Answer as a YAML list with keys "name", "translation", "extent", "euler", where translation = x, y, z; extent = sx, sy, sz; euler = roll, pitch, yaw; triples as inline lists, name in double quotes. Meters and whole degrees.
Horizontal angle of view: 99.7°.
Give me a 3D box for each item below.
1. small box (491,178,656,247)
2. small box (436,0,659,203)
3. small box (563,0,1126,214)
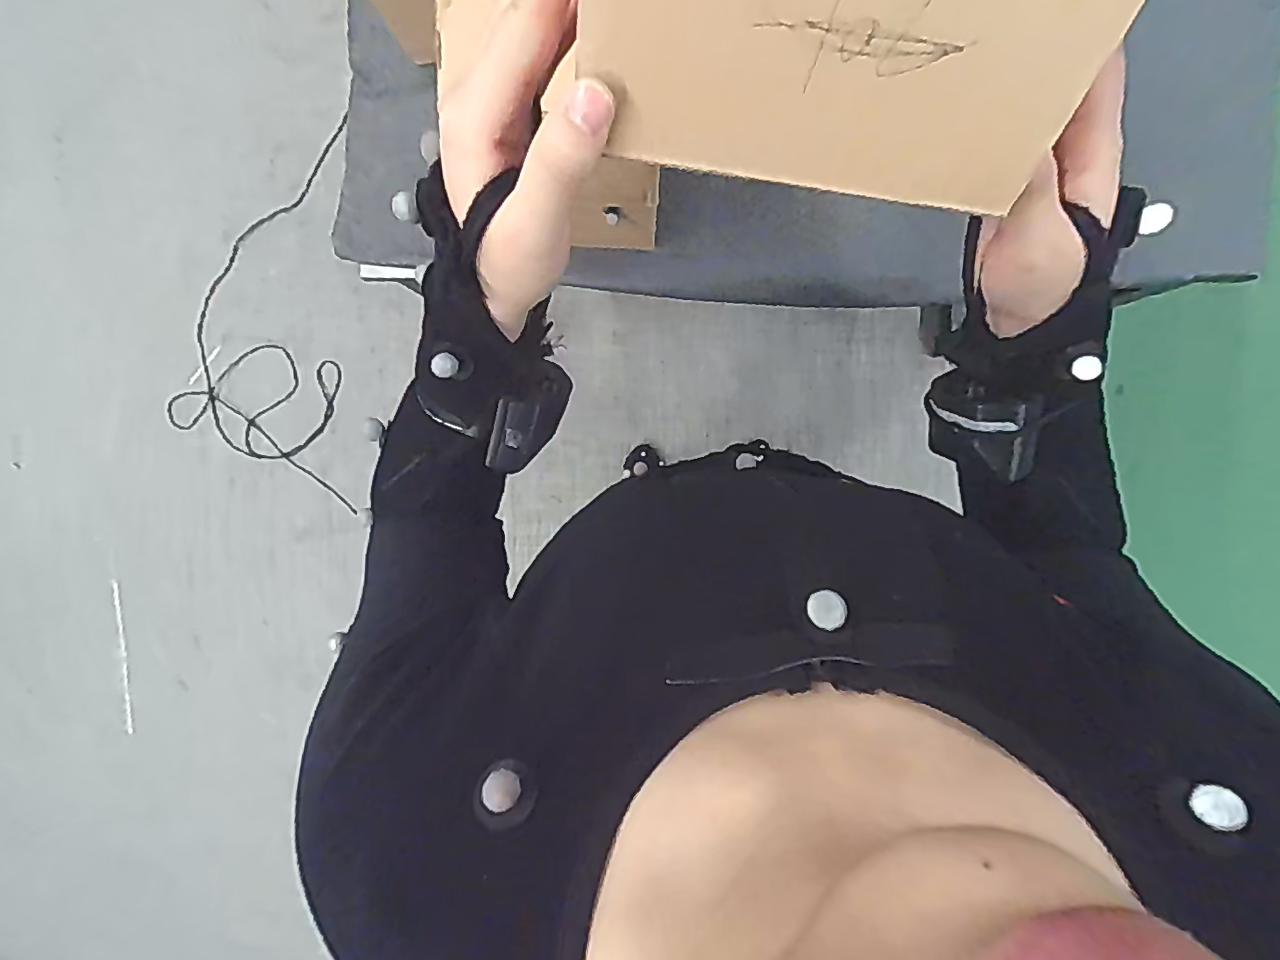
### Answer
- name: "small box"
  translation: [-0.067, -0.395, 0.653]
  extent: [0.179, 0.176, 0.168]
  euler: [3, 94, 2]
- name: "small box"
  translation: [-0.067, -0.371, 0.492]
  extent: [0.179, 0.176, 0.168]
  euler: [2, 95, 3]
- name: "small box"
  translation: [0.066, -0.226, 0.187]
  extent: [0.168, 0.176, 0.179]
  euler: [6, 139, -5]
